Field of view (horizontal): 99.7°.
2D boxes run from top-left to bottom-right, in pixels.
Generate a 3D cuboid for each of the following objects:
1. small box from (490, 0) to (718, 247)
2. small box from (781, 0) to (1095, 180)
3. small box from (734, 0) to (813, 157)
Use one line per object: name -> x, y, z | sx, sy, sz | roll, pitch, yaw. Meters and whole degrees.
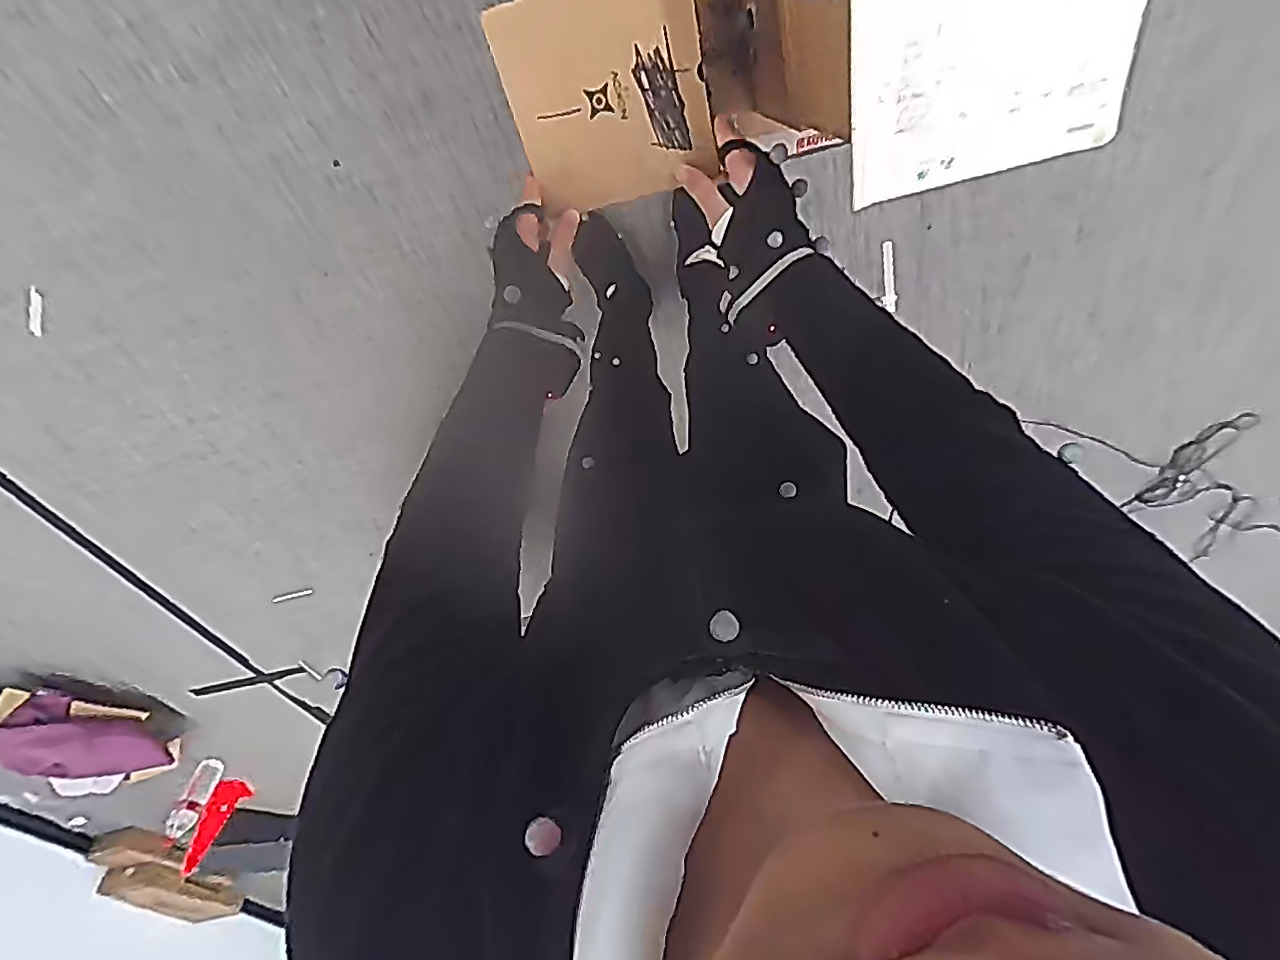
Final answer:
small box -> -0.025, -0.367, 0.550 | 0.179, 0.176, 0.168 | -9, 131, 11
small box -> 0.217, -0.368, 0.426 | 0.168, 0.176, 0.179 | -15, 129, 6
small box -> 0.208, -0.464, 0.556 | 0.179, 0.176, 0.168 | -16, 129, 7
